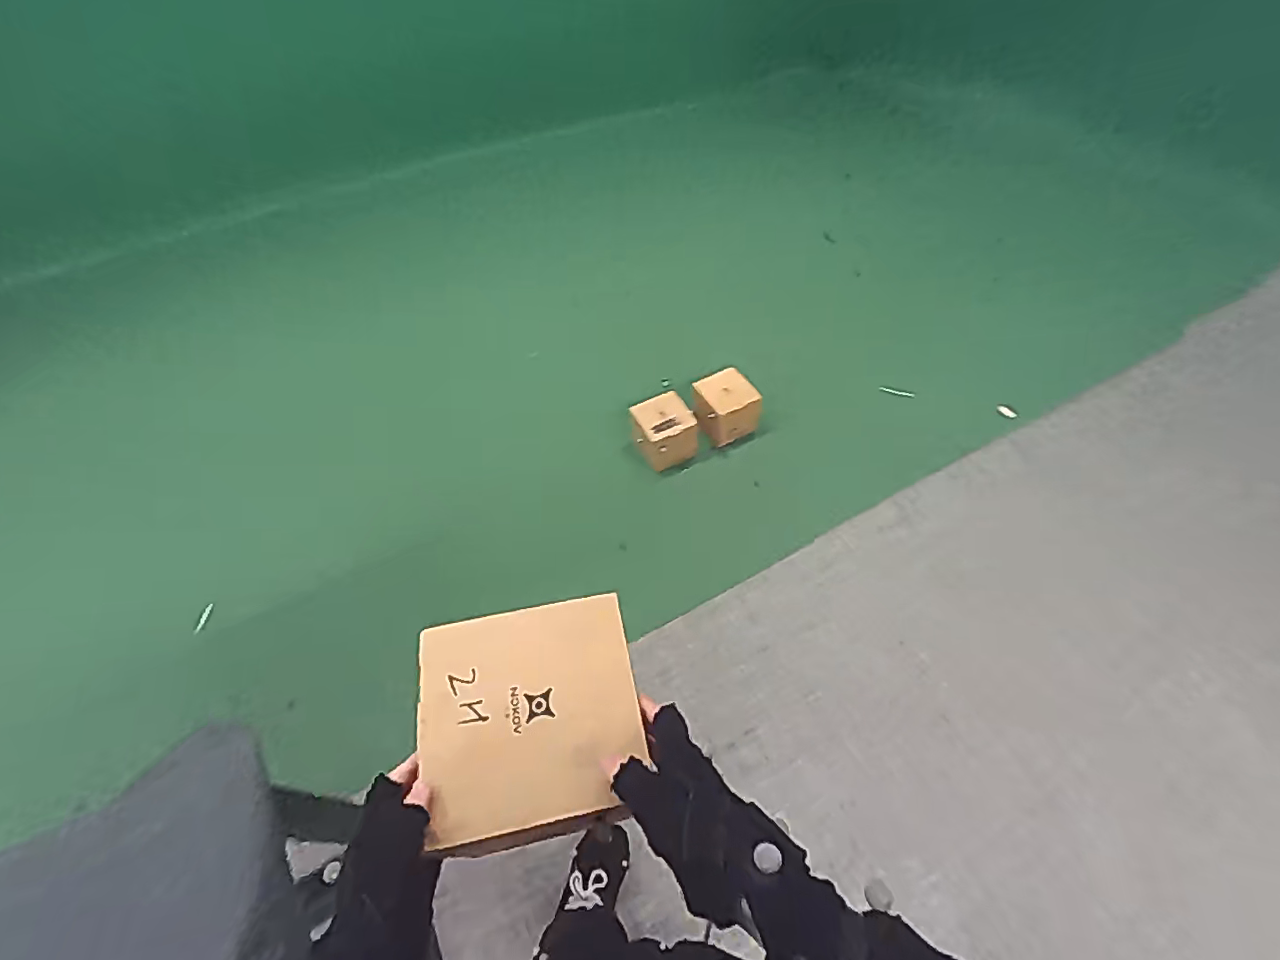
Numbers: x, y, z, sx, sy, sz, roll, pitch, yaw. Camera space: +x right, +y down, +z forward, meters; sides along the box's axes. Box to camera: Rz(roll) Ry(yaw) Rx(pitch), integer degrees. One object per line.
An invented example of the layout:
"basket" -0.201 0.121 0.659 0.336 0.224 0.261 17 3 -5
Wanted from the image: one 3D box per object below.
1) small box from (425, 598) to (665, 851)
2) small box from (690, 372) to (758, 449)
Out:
"small box" -0.082 0.228 0.499 0.179 0.176 0.168 -8 55 -7
"small box" 0.287 -0.241 1.897 0.168 0.176 0.179 -25 58 -16
